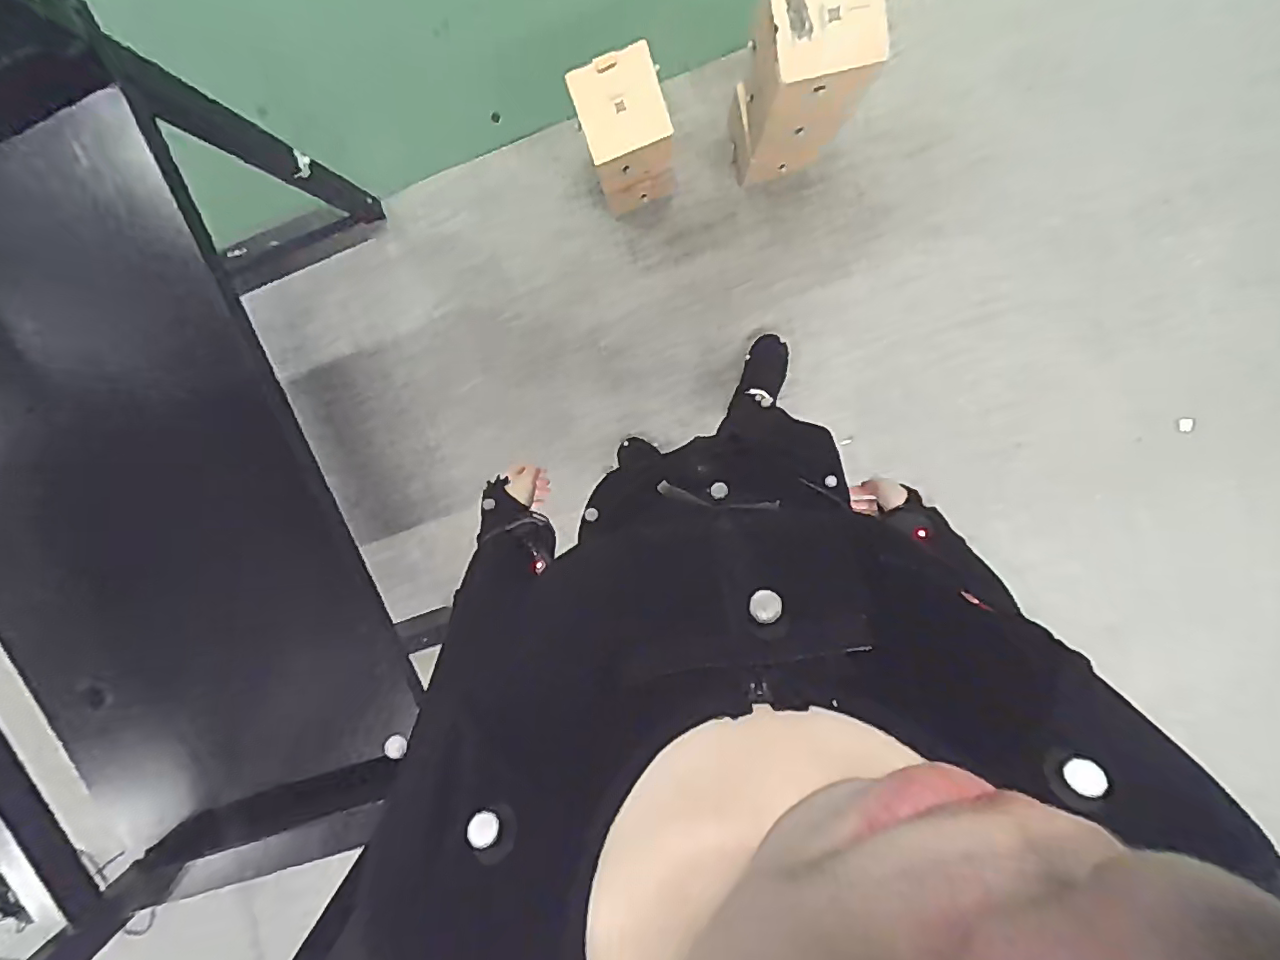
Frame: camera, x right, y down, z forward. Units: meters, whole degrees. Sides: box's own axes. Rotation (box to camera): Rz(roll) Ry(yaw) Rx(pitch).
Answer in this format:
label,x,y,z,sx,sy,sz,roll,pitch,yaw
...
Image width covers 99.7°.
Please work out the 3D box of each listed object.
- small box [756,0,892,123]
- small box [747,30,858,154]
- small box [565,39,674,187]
label,x,y,z,sx,sy,sz,roll,pitch,yaw
small box,0.297,-0.738,0.910,0.179,0.176,0.168,-10,101,5
small box,0.311,-0.773,1.069,0.179,0.176,0.168,-8,102,4
small box,-0.033,-0.726,1.099,0.168,0.176,0.179,-19,98,7
